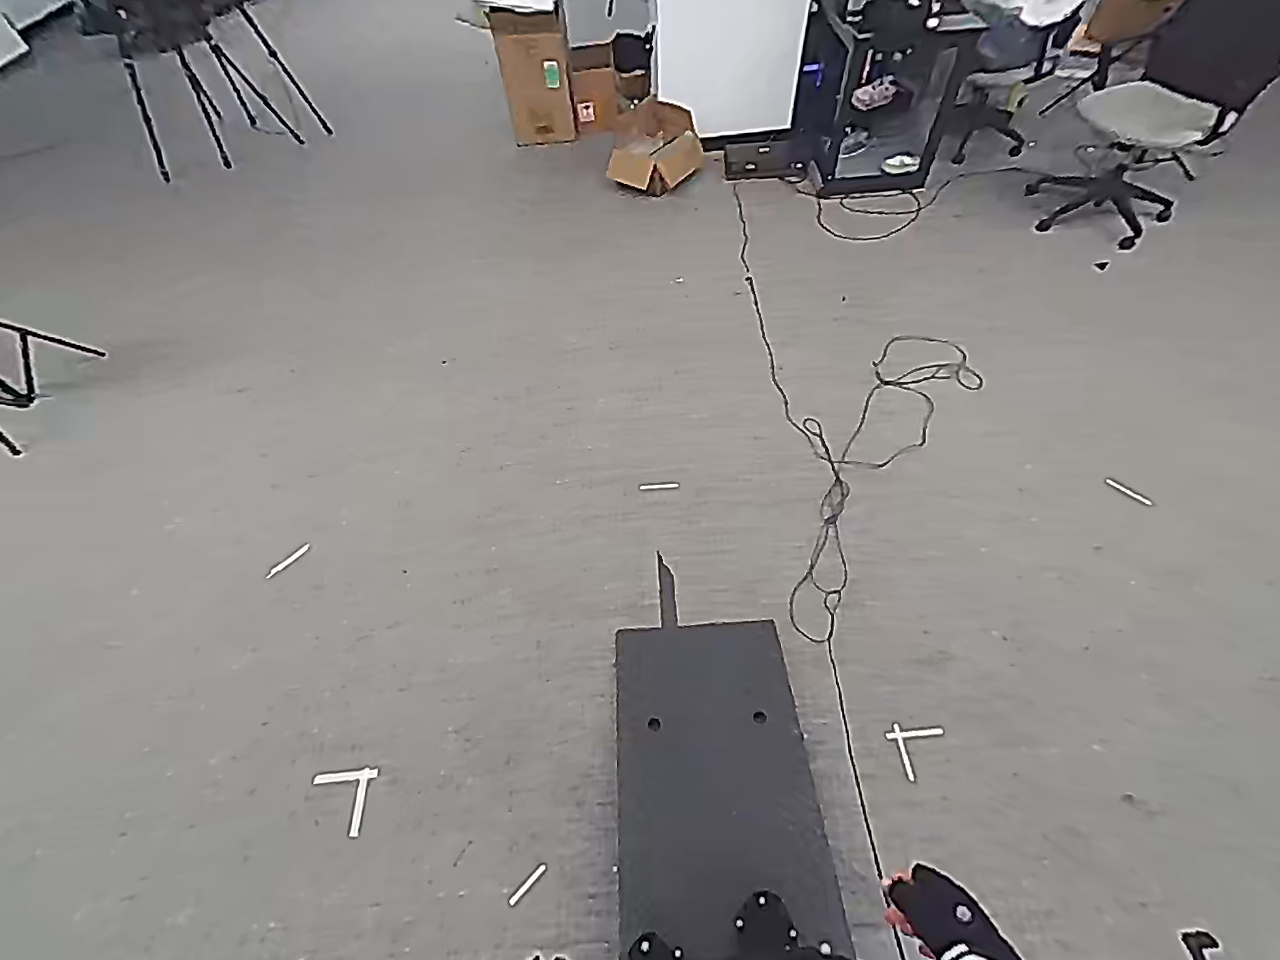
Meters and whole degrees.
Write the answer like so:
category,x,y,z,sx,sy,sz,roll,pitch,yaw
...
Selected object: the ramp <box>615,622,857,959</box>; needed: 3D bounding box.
category,x,y,z,sx,sy,sz,roll,pitch,yaw
ramp,0.188,0.808,1.312,0.509,0.206,0.991,-7,54,1
